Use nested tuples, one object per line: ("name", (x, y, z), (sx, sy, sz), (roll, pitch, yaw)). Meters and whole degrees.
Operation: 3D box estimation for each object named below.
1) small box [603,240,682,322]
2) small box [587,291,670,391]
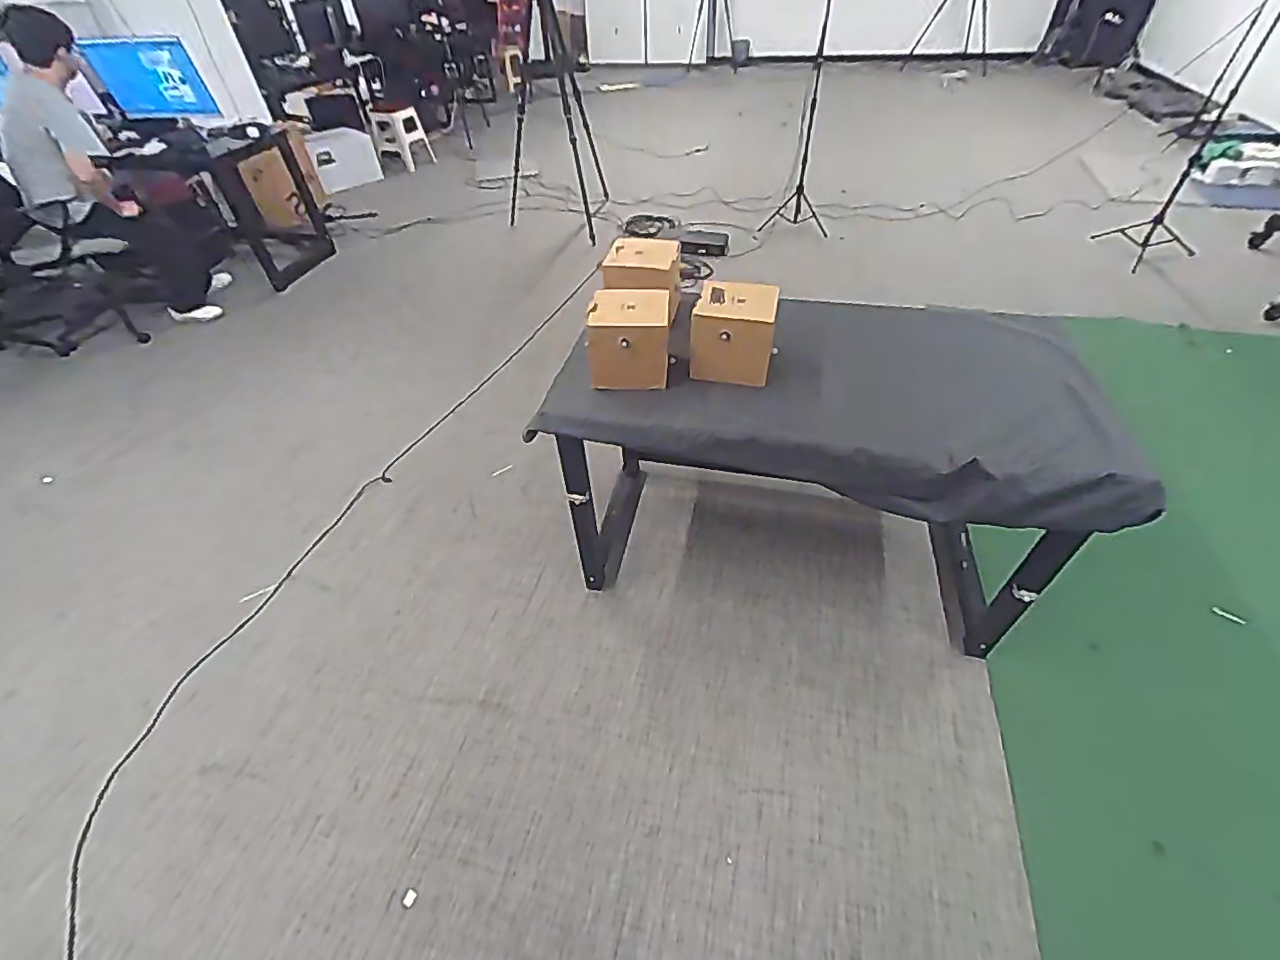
("small box", (0.011, -0.519, 1.448), (0.179, 0.176, 0.168), (8, 47, 10))
("small box", (-0.020, -0.321, 1.256), (0.179, 0.176, 0.168), (2, 46, 3))
